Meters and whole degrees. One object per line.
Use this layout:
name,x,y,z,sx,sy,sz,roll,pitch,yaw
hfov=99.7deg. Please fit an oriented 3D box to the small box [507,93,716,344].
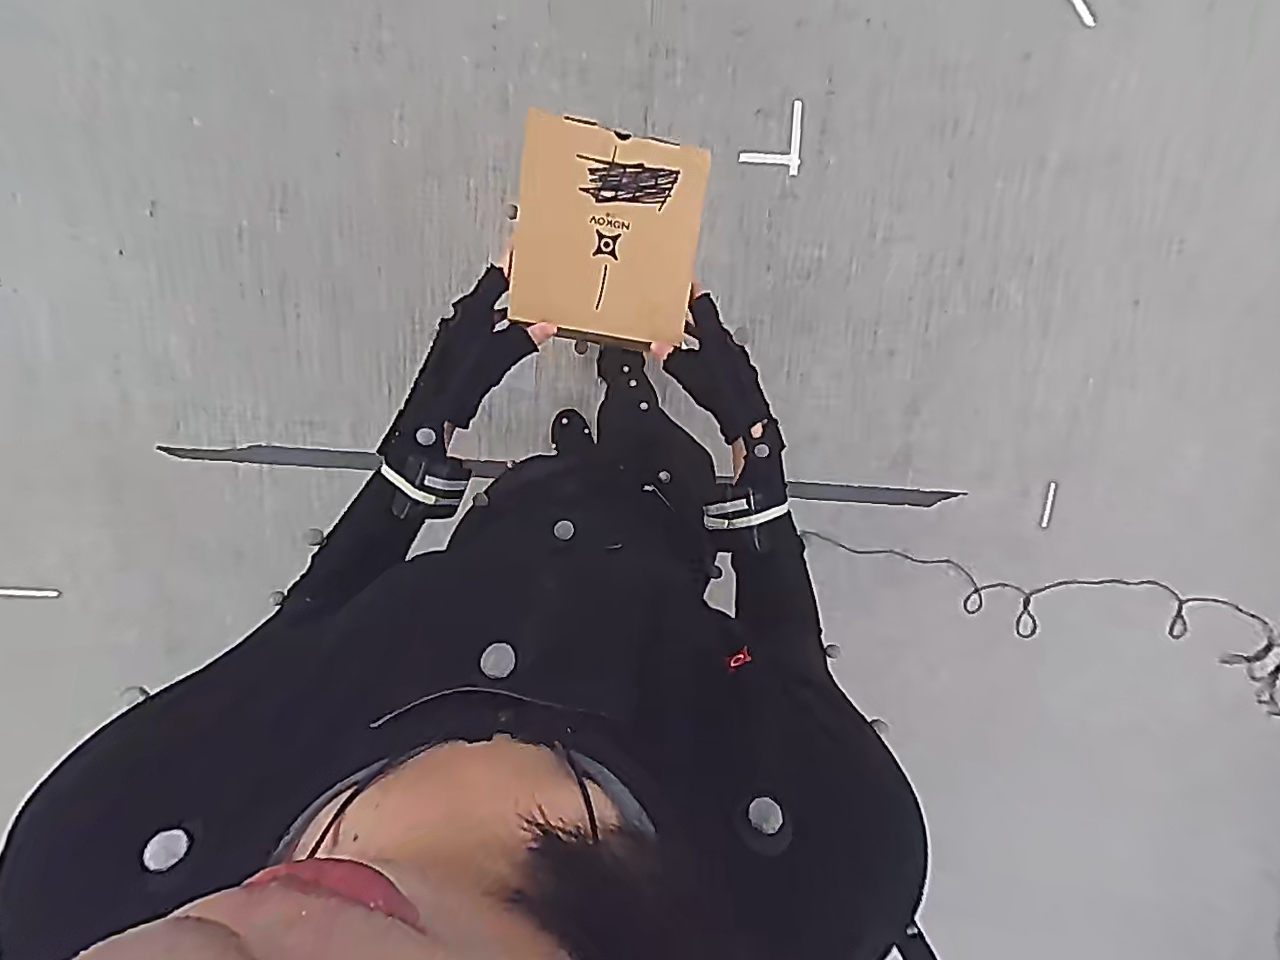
small box,-0.038,-0.241,0.551,0.168,0.176,0.179,7,101,-11
